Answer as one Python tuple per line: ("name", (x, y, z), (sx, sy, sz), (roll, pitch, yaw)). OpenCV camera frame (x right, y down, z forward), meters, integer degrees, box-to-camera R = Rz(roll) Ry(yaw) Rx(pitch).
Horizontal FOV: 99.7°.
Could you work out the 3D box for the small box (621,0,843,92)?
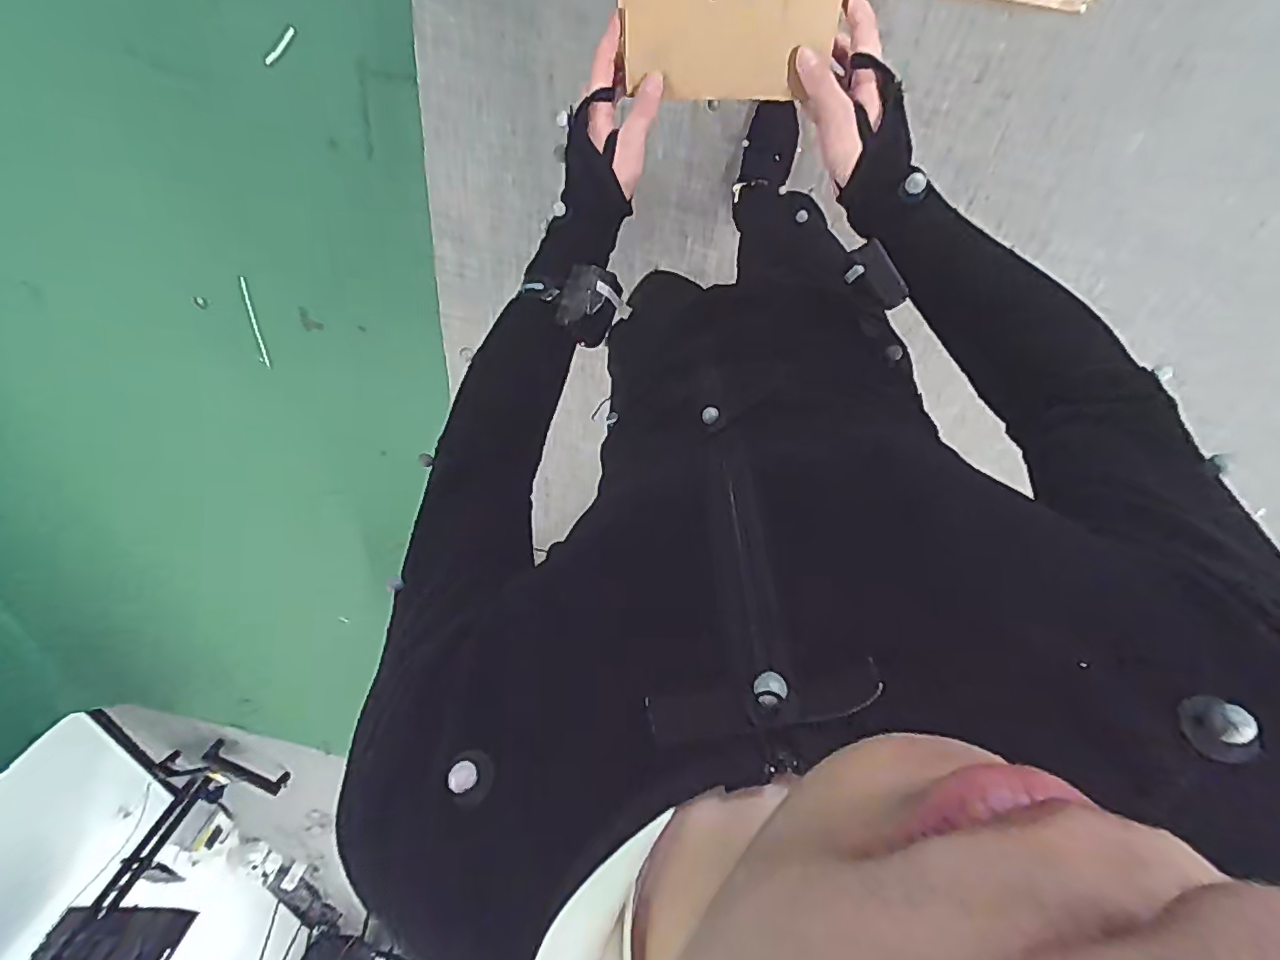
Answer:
("small box", (0.078, -0.451, 0.464), (0.179, 0.176, 0.168), (2, 136, 2))
